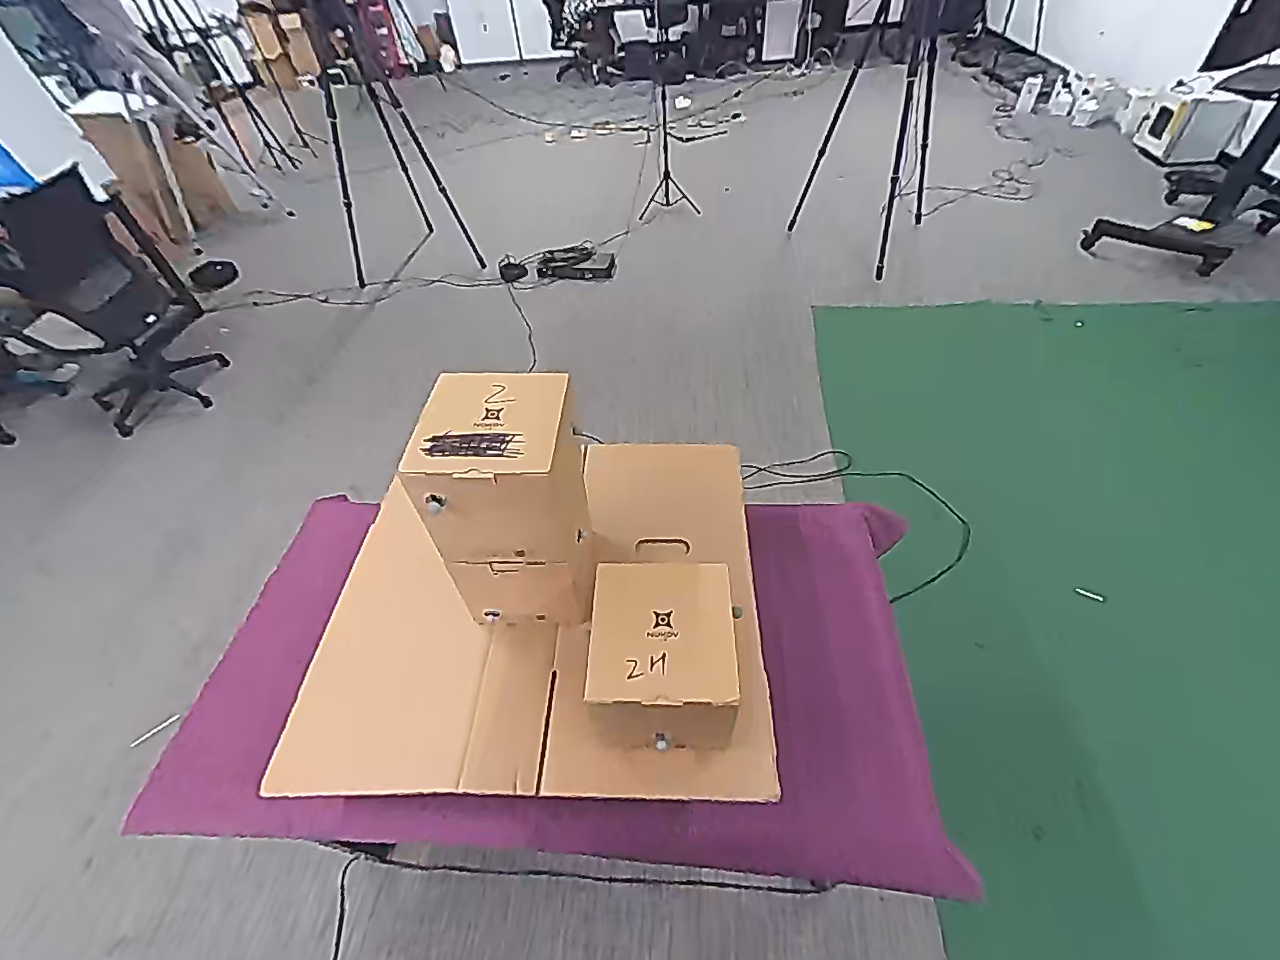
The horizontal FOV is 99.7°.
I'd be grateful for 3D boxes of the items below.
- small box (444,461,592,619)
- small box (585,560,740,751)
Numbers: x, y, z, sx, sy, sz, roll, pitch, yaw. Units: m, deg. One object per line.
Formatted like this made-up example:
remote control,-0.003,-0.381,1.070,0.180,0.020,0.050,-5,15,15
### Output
small box,-0.164,0.091,0.798,0.168,0.176,0.179,0,48,2
small box,0.030,0.219,0.676,0.168,0.176,0.179,0,49,4
